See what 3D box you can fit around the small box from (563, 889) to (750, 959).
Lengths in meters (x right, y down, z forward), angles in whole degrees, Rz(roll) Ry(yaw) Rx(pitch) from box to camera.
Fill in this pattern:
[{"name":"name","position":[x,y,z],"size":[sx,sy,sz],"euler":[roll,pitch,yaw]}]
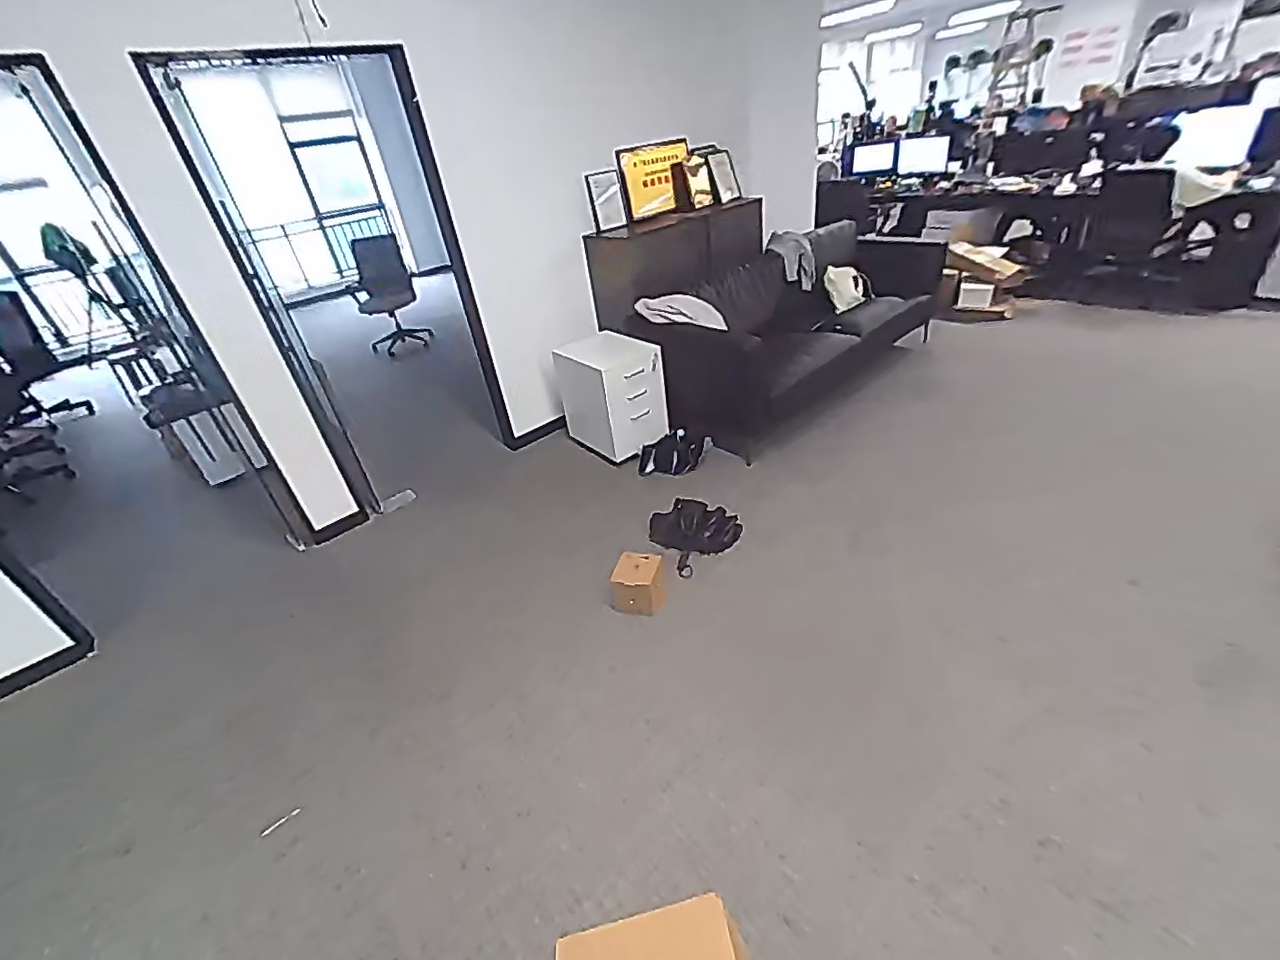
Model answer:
[{"name":"small box","position":[0.037,0.532,0.507],"size":[0.168,0.176,0.179],"euler":[-17,37,-1]}]
